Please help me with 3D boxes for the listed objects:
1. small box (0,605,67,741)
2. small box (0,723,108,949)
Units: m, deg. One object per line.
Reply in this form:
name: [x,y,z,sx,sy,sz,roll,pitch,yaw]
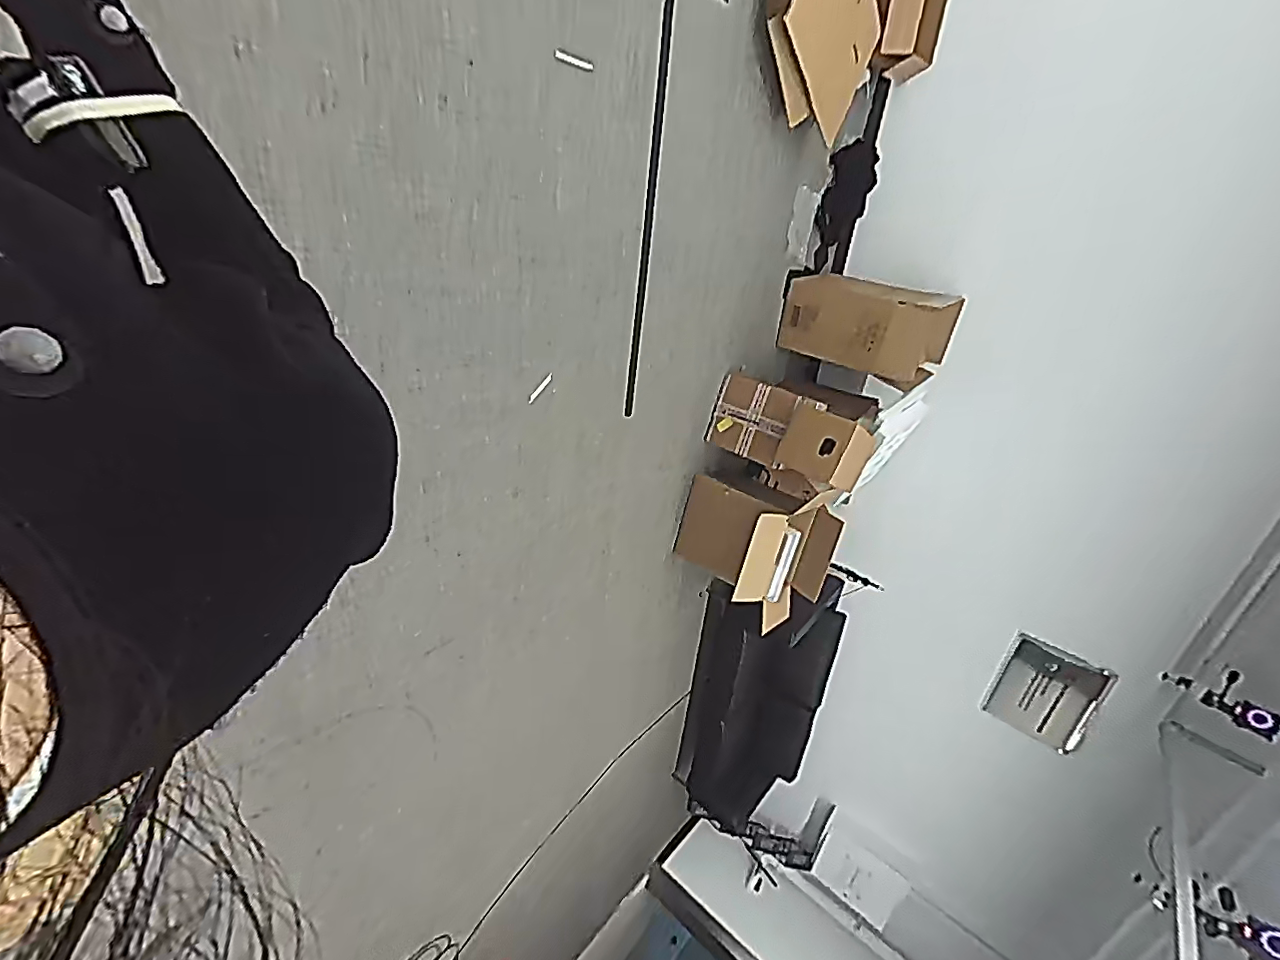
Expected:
small box: [-1.039,0.322,0.827,0.179,0.176,0.168,-22,127,-44]
small box: [-0.789,0.439,0.648,0.179,0.176,0.168,-19,125,-48]
